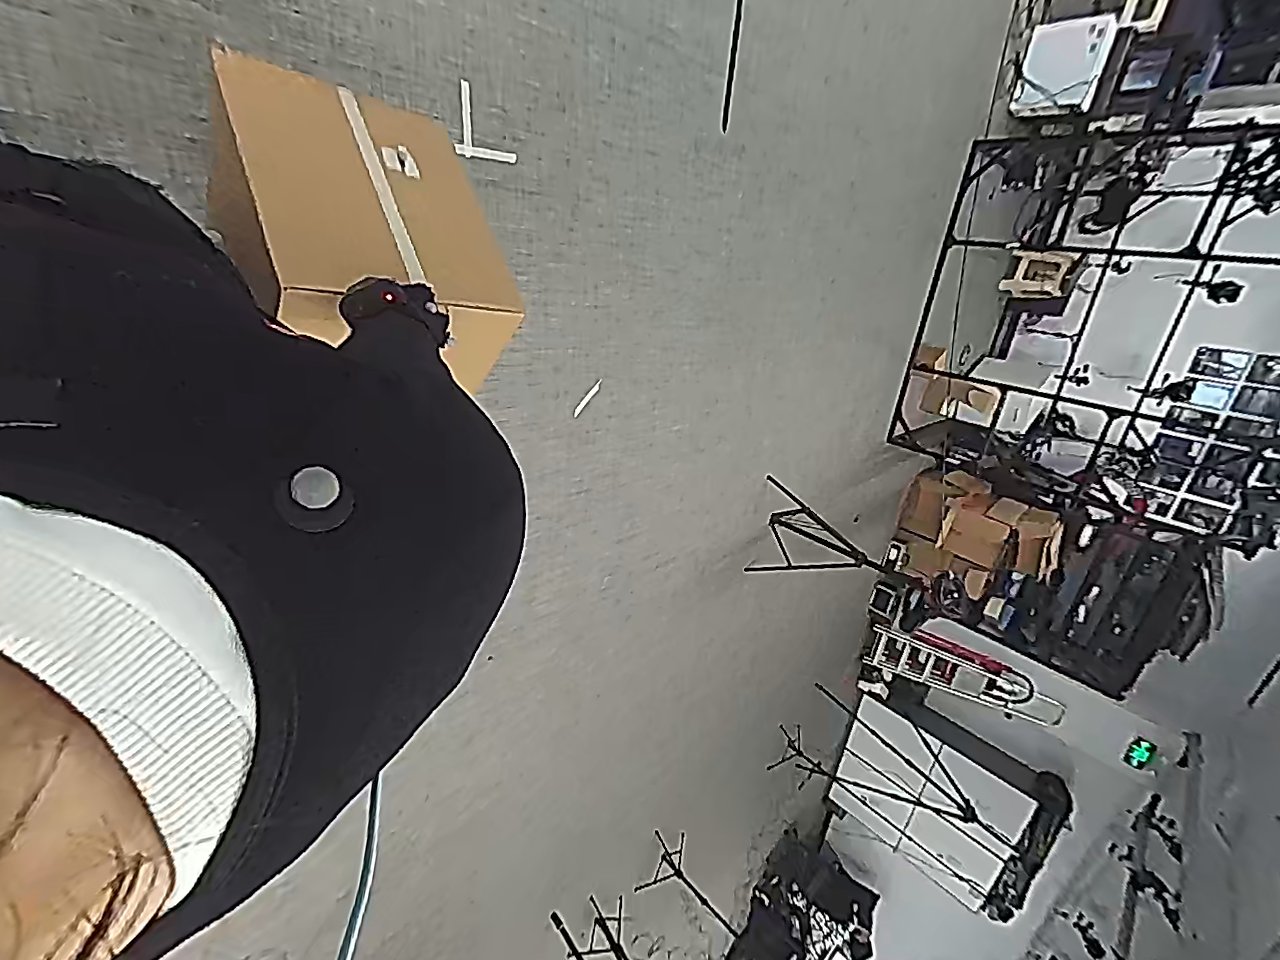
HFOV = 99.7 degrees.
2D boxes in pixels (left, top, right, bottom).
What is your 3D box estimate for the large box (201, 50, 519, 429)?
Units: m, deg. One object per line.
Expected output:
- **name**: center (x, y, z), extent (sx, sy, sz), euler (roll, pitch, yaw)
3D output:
- **large box**: center (-0.455, -0.335, 0.854), extent (0.320, 0.408, 0.320), euler (-10, 159, -46)
